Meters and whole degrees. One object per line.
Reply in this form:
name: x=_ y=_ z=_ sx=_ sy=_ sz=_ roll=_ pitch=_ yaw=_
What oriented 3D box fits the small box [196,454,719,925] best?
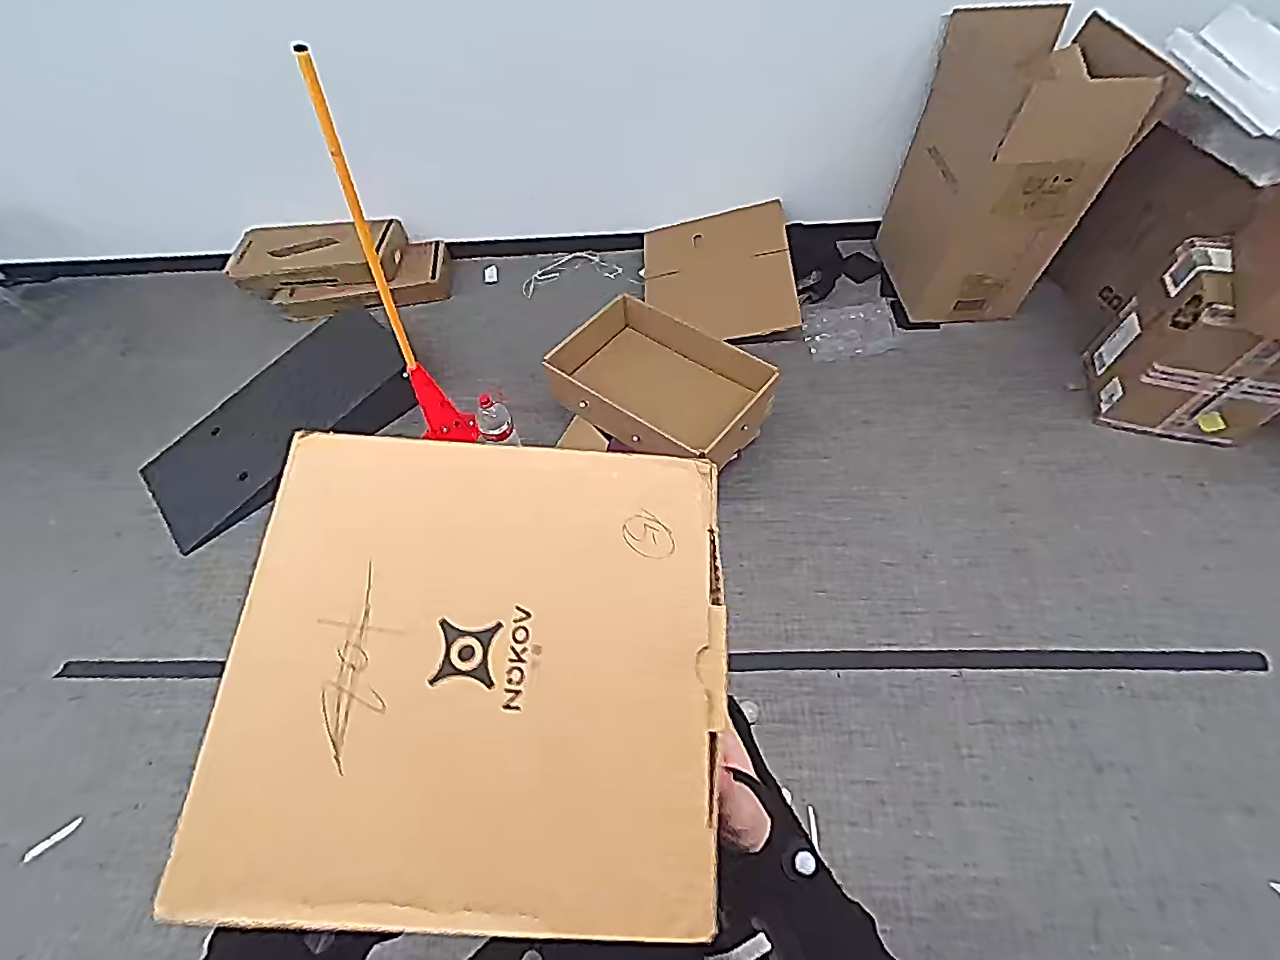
small box: x=-0.061 y=0.099 z=0.283 sx=0.179 sy=0.176 sz=0.168 roll=3 pitch=68 yaw=-2
